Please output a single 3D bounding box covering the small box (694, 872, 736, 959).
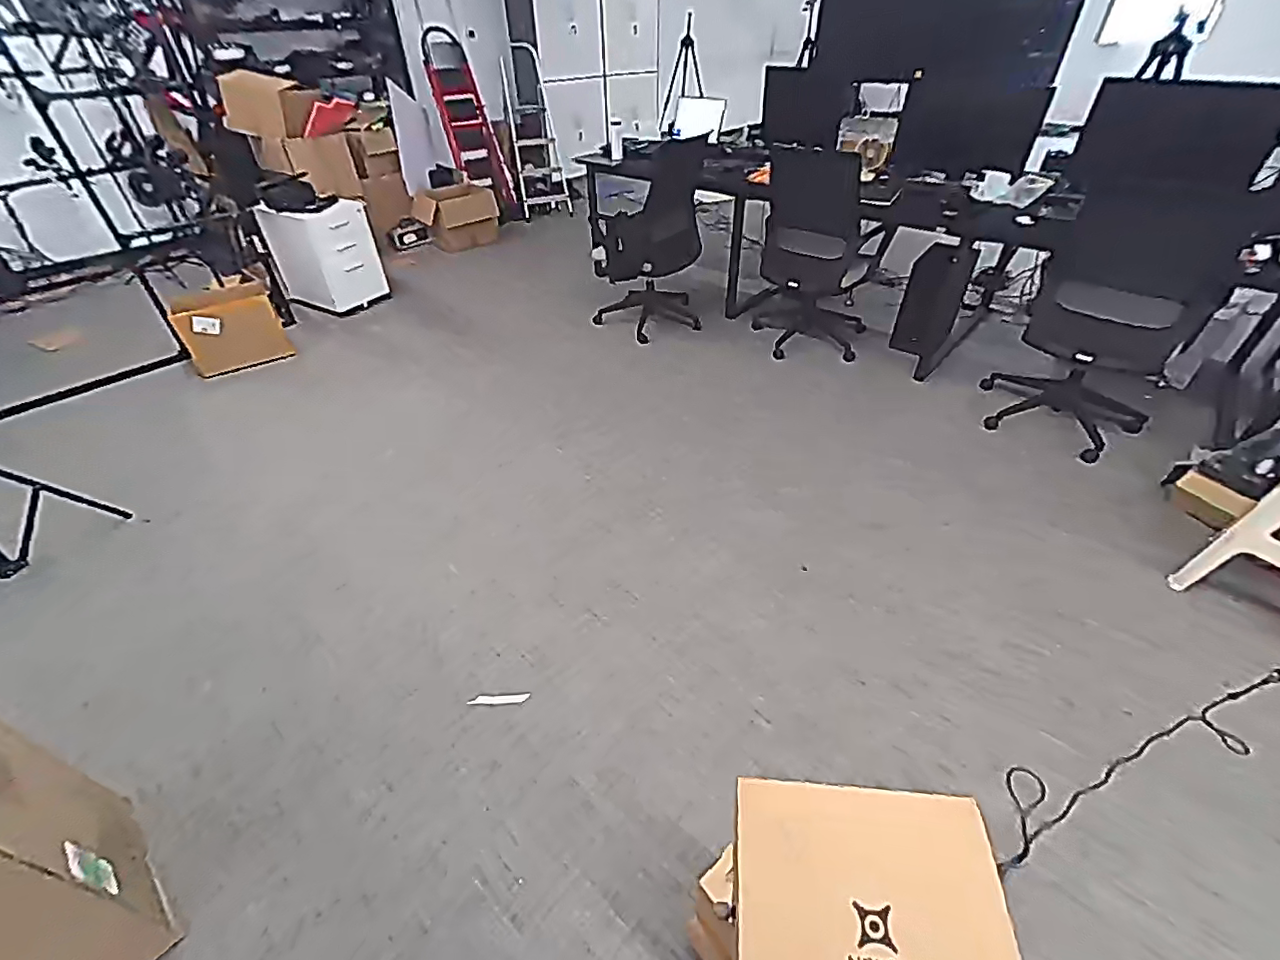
[{"bbox_3d":[0.213,0.855,1.015,0.179,0.176,0.168,-30,47,-29],"label":"small box"}]

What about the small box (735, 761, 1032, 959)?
[{"bbox_3d":[0.153,0.326,0.382,0.168,0.176,0.179,0,46,10],"label":"small box"}]
